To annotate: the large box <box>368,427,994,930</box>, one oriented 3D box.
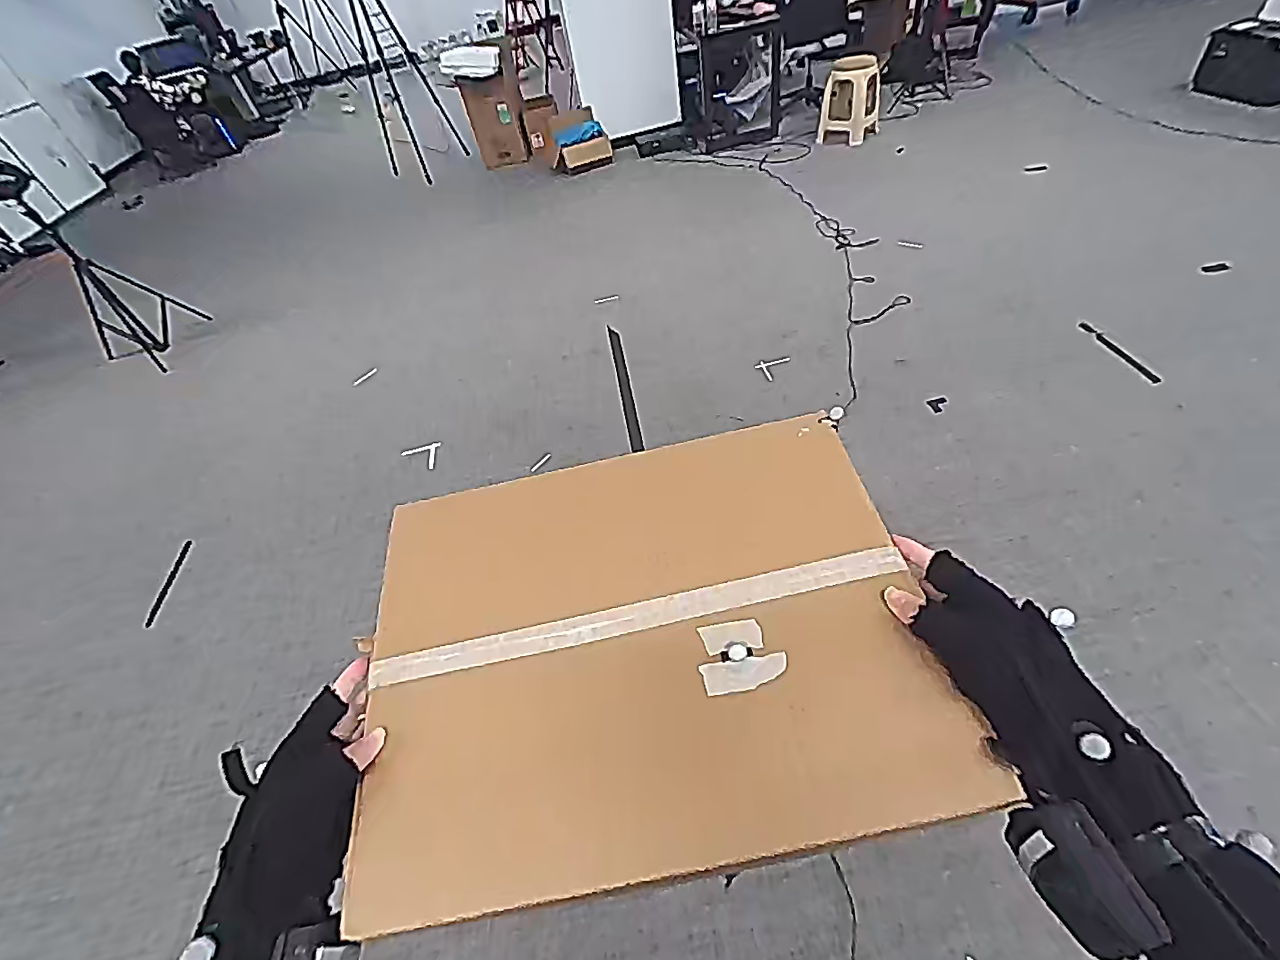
[{"bbox_3d":[0.019,0.199,0.536,0.408,0.320,0.320,-12,54,0],"label":"large box"}]
